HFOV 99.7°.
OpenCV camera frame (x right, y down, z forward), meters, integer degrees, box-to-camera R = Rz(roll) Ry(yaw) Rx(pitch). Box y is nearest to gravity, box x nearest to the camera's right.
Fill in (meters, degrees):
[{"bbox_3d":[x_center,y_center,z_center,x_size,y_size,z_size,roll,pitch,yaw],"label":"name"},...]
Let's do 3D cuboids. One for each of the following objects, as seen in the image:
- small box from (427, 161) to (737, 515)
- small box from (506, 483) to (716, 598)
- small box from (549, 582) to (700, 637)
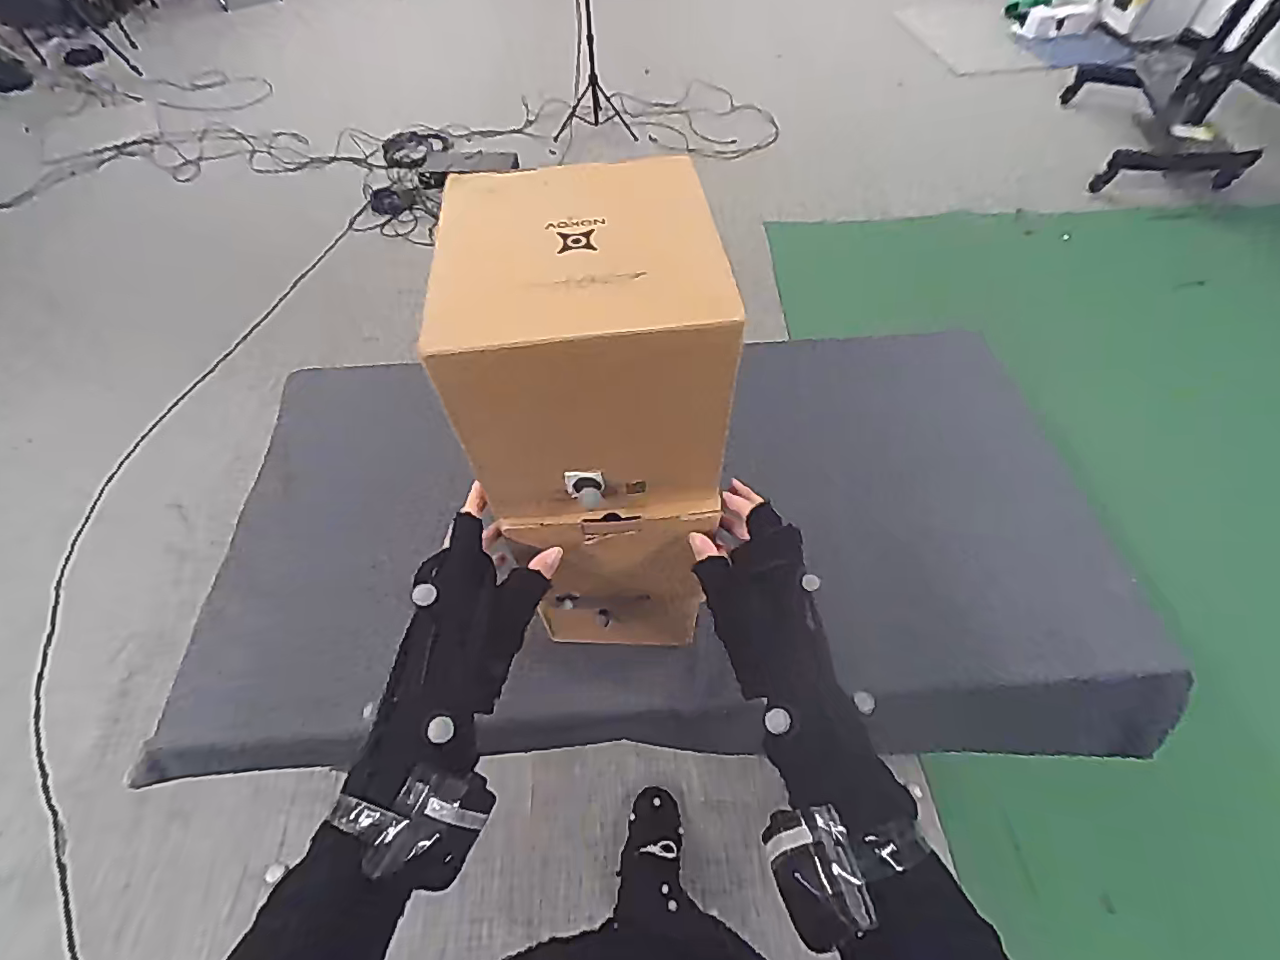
[{"bbox_3d":[-0.036,-0.097,0.393,0.168,0.176,0.179,-8,56,-2],"label":"small box"},{"bbox_3d":[-0.026,0.003,0.520,0.168,0.176,0.179,-7,57,-2],"label":"small box"},{"bbox_3d":[-0.019,0.086,0.666,0.179,0.176,0.168,-2,54,0],"label":"small box"}]
